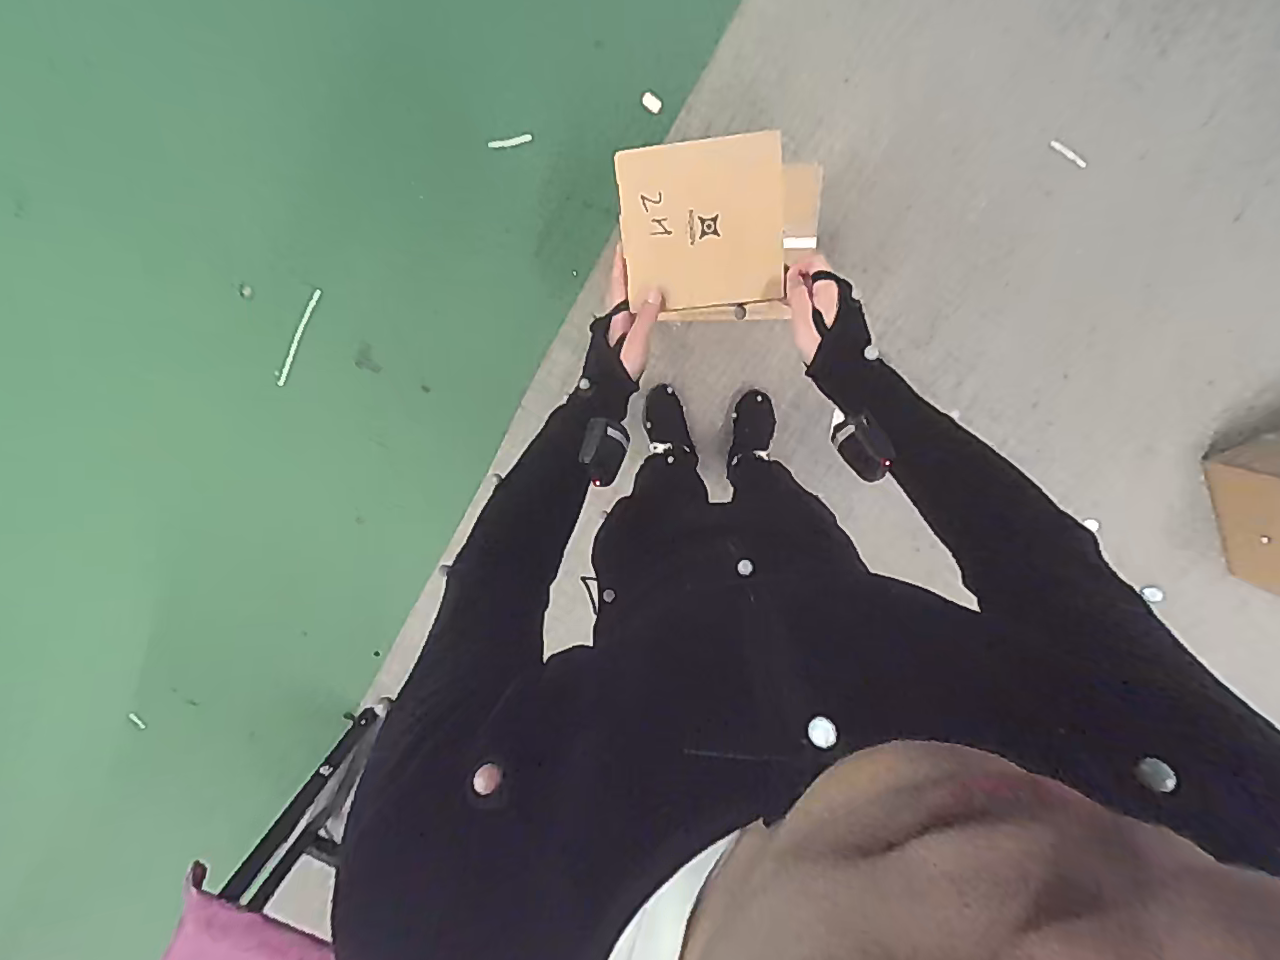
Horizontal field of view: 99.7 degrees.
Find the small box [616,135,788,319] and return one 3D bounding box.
[{"bbox_3d":[0.073,-0.289,0.647,0.179,0.176,0.168,-4,107,6],"label":"small box"}]

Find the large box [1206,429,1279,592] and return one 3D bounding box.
[{"bbox_3d":[1.793,0.087,1.380,0.320,0.320,0.408,-26,101,9],"label":"large box"}]
